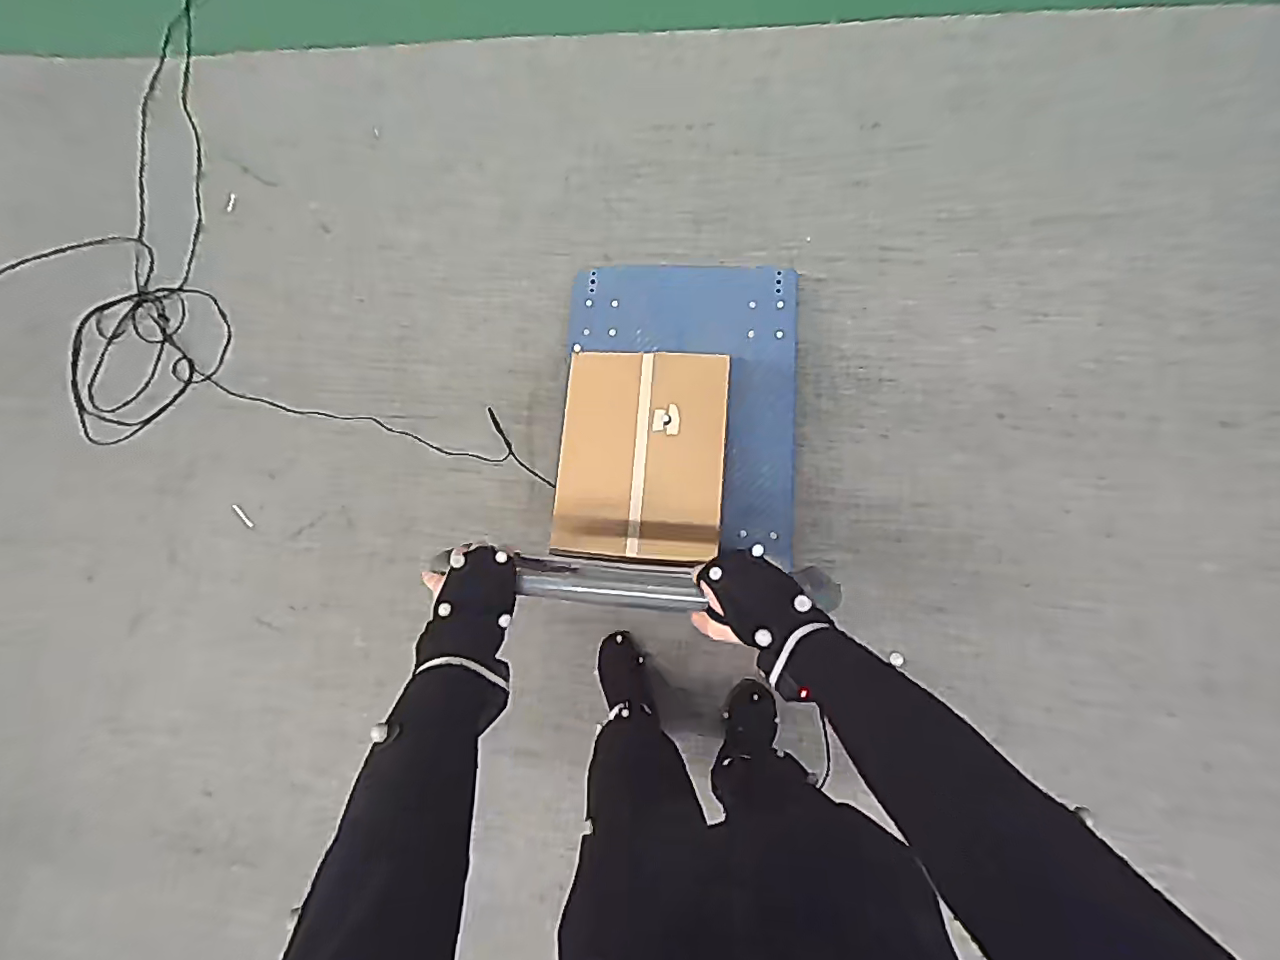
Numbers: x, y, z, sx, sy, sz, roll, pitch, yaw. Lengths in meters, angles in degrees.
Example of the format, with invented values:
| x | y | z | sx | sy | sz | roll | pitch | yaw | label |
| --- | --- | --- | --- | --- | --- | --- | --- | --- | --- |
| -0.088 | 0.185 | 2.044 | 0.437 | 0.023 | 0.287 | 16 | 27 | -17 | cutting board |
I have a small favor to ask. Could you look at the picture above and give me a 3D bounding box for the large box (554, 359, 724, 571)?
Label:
| x | y | z | sx | sy | sz | roll | pitch | yaw | label |
| --- | --- | --- | --- | --- | --- | --- | --- | --- | --- |
| 0.020 | -0.015 | 1.189 | 0.320 | 0.320 | 0.408 | 3 | 78 | 8 | large box |
